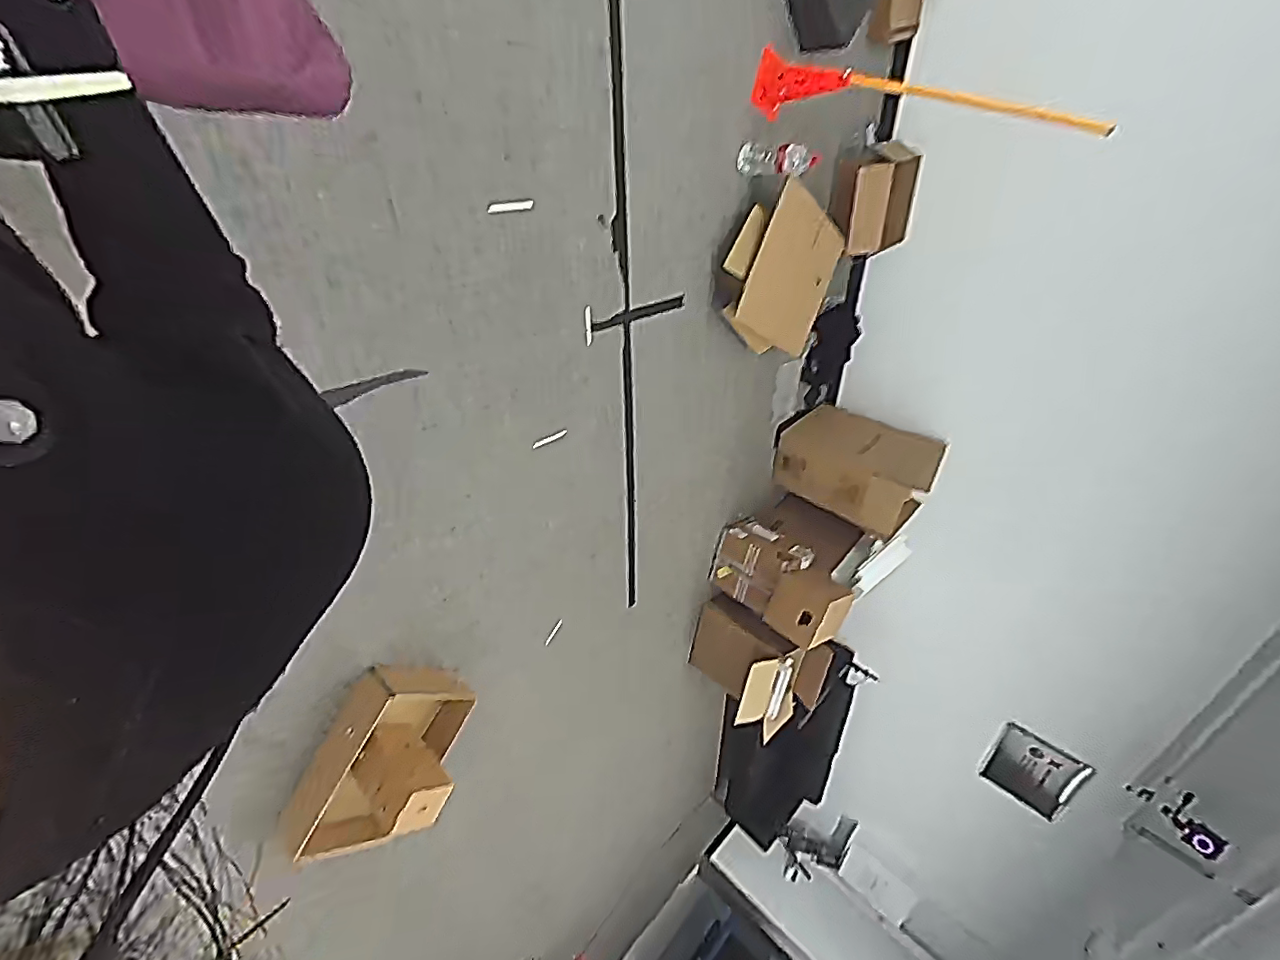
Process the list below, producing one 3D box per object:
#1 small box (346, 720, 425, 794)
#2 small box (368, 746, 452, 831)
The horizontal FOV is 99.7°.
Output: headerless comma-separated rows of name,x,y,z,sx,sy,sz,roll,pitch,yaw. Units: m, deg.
small box,-0.908,0.984,1.937,0.168,0.176,0.179,-60,144,-2
small box,-0.788,1.043,1.844,0.179,0.176,0.168,26,94,-55
